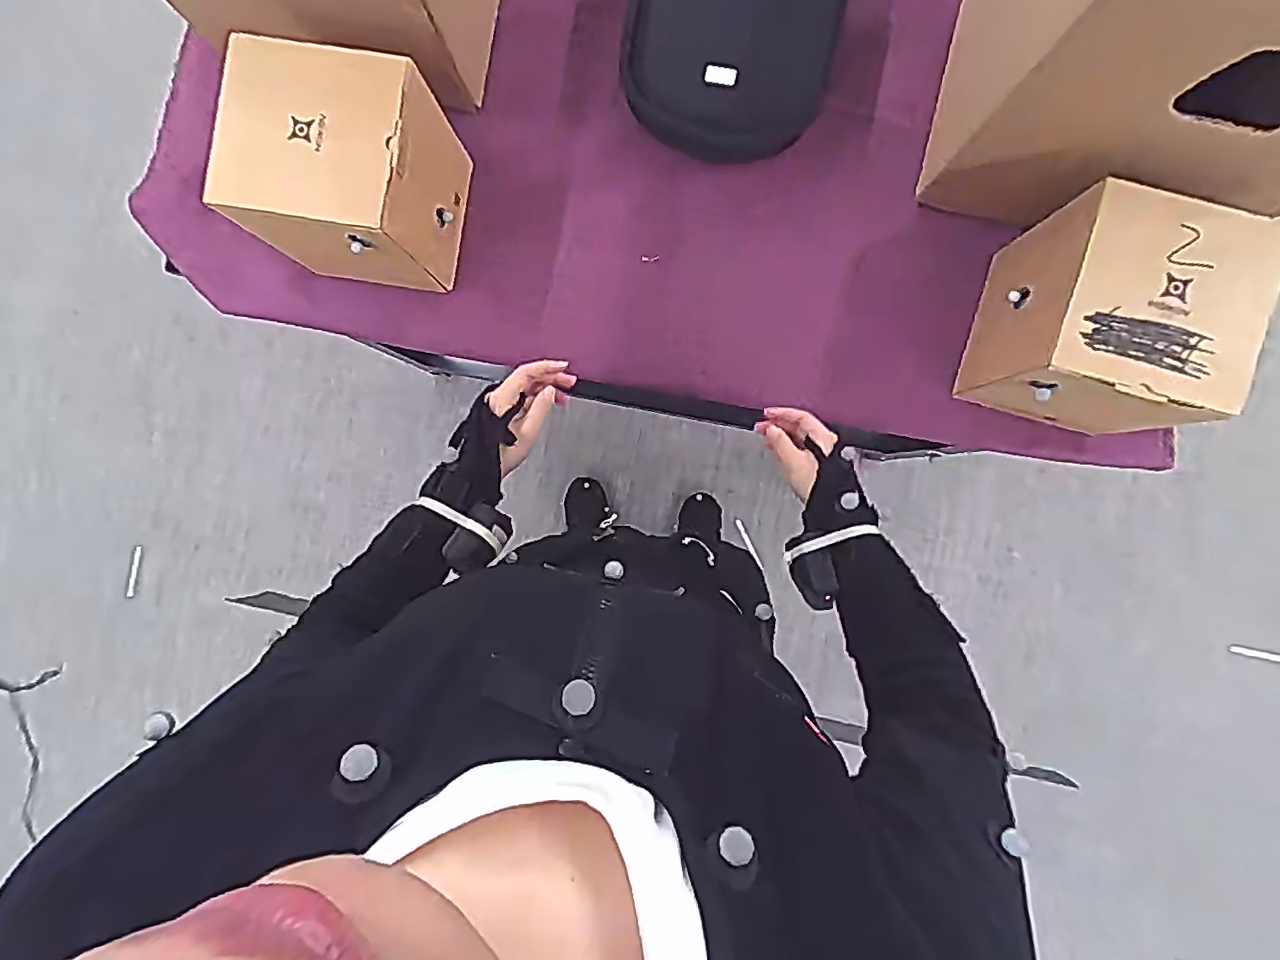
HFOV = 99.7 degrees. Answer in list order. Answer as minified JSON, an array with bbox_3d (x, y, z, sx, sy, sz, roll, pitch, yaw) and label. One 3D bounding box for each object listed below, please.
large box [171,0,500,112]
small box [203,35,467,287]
[{"bbox_3d":[-0.311,-0.667,0.513,0.320,0.320,0.408,10,93,1],"label":"large box"},{"bbox_3d":[-0.311,-0.326,0.586,0.179,0.176,0.168,8,89,1],"label":"small box"}]
